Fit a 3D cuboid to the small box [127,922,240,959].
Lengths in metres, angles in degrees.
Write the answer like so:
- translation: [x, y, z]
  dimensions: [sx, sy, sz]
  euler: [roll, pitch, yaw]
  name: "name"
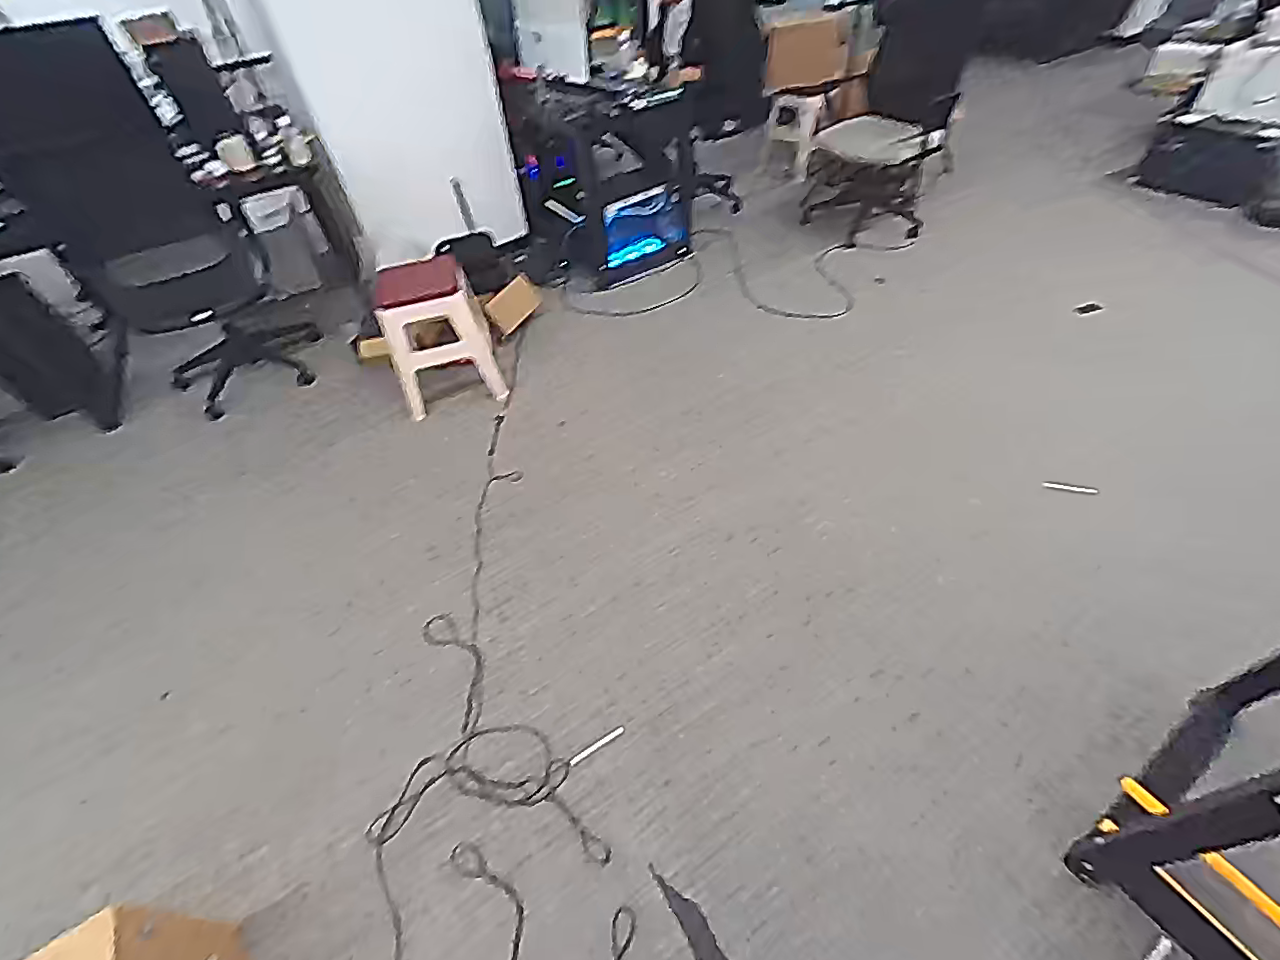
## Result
- translation: [-0.842, 0.943, 0.960]
  dimensions: [0.168, 0.176, 0.179]
  euler: [-33, 53, -22]
  name: "small box"
